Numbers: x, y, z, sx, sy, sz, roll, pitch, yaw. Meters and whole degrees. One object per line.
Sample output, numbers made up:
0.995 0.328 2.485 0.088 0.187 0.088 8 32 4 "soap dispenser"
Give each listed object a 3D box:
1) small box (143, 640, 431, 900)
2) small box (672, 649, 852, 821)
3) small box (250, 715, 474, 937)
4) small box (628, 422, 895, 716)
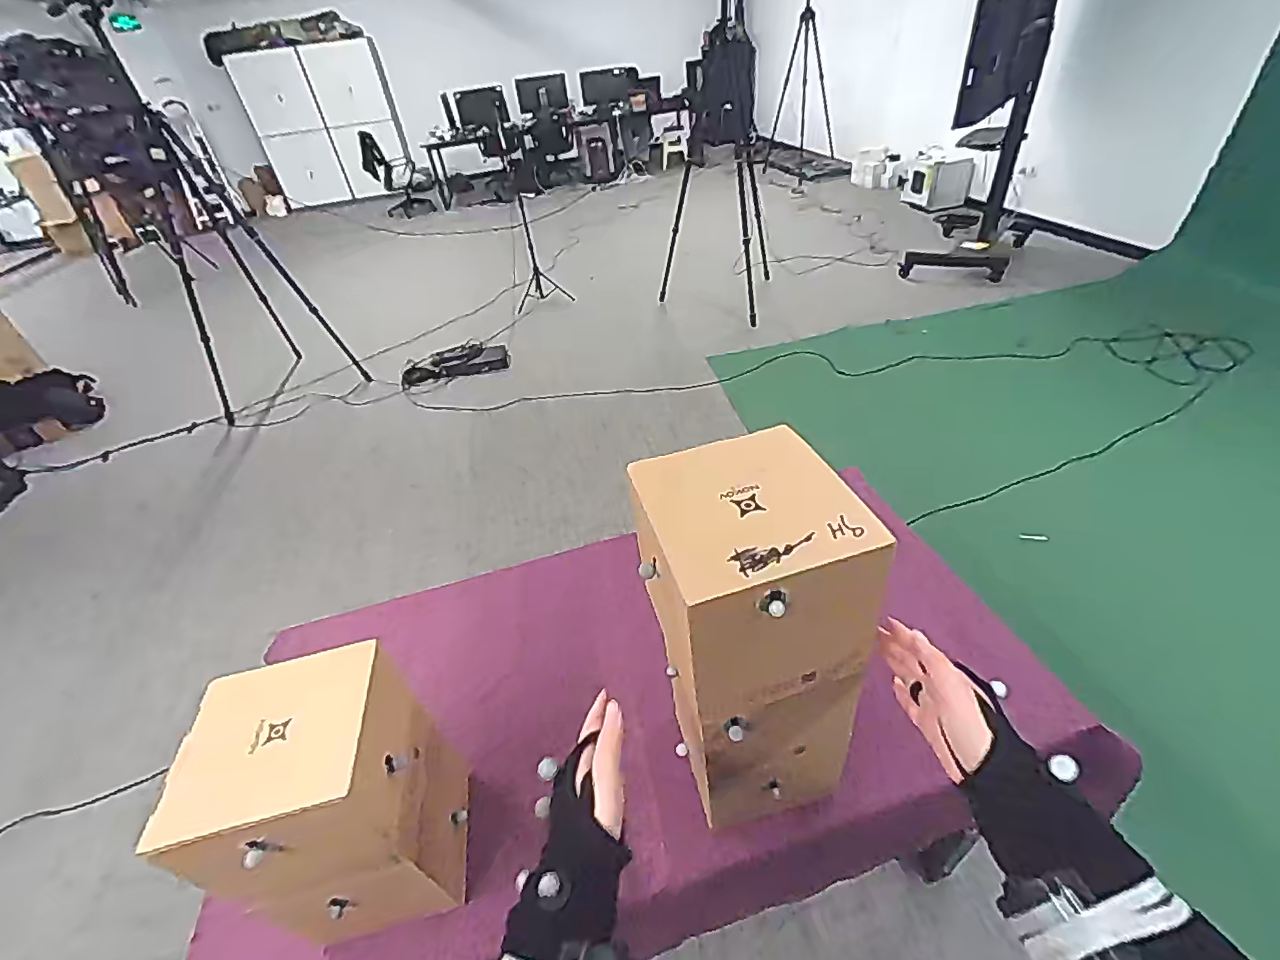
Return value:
-0.336 0.301 0.565 0.179 0.176 0.168 -14 40 -5 "small box"
0.150 0.315 0.715 0.179 0.176 0.168 -14 40 -5 "small box"
-0.321 0.427 0.668 0.179 0.176 0.168 -13 40 -5 "small box"
0.096 0.076 0.494 0.168 0.176 0.179 -16 39 -7 "small box"
